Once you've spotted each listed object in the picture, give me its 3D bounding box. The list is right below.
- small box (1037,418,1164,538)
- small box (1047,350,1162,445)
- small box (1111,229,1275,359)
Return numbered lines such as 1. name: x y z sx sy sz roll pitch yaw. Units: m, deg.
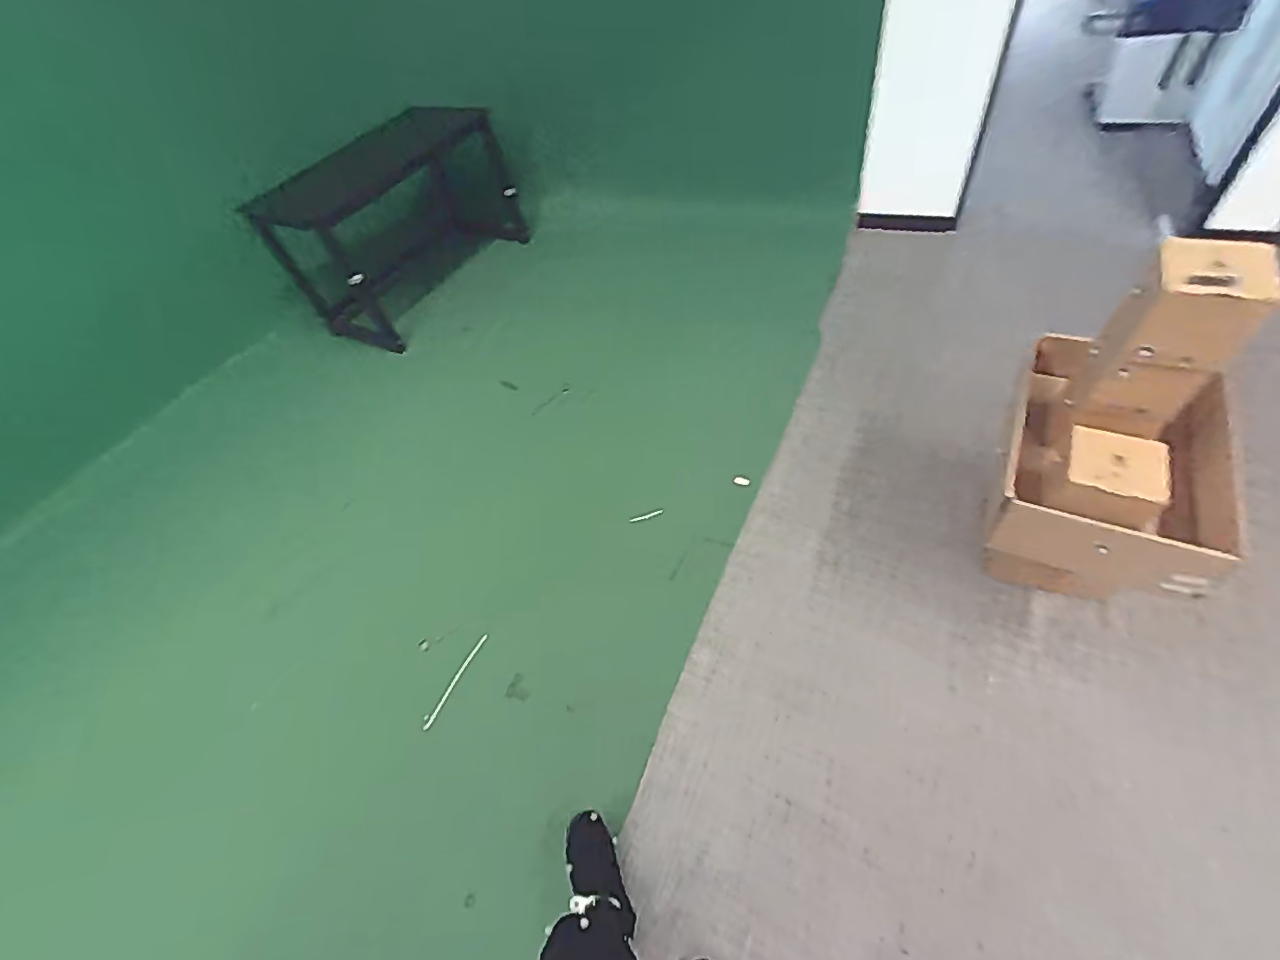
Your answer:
1. small box: 1.010 -0.004 1.195 0.168 0.176 0.179 17 57 25
2. small box: 1.129 -0.186 1.324 0.168 0.176 0.179 16 60 23
3. small box: 1.058 -0.359 1.052 0.168 0.176 0.179 14 59 22
